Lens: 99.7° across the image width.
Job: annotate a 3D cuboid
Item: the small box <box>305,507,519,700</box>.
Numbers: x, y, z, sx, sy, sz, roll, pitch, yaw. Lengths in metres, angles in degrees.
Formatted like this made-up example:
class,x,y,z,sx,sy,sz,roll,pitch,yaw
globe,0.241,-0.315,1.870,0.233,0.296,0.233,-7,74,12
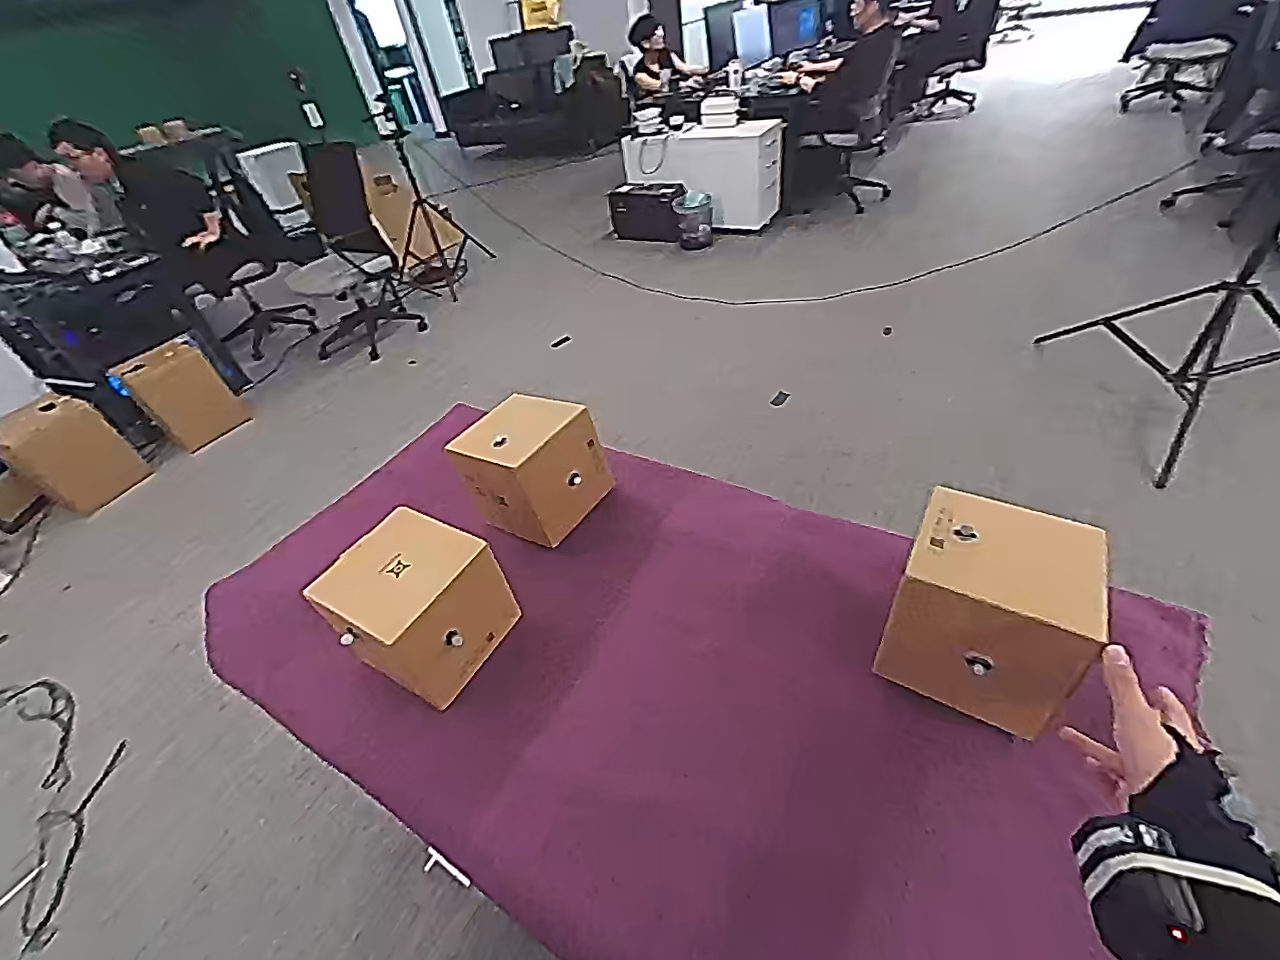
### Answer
class,x,y,z,sx,sy,sz,roll,pitch,yaw
small box,-0.293,0.169,0.733,0.179,0.176,0.168,16,49,27

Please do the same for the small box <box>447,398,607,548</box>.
class,x,y,z,sx,sy,sz,roll,pitch,yaw
small box,-0.173,-0.021,0.893,0.179,0.168,0.176,15,46,35
